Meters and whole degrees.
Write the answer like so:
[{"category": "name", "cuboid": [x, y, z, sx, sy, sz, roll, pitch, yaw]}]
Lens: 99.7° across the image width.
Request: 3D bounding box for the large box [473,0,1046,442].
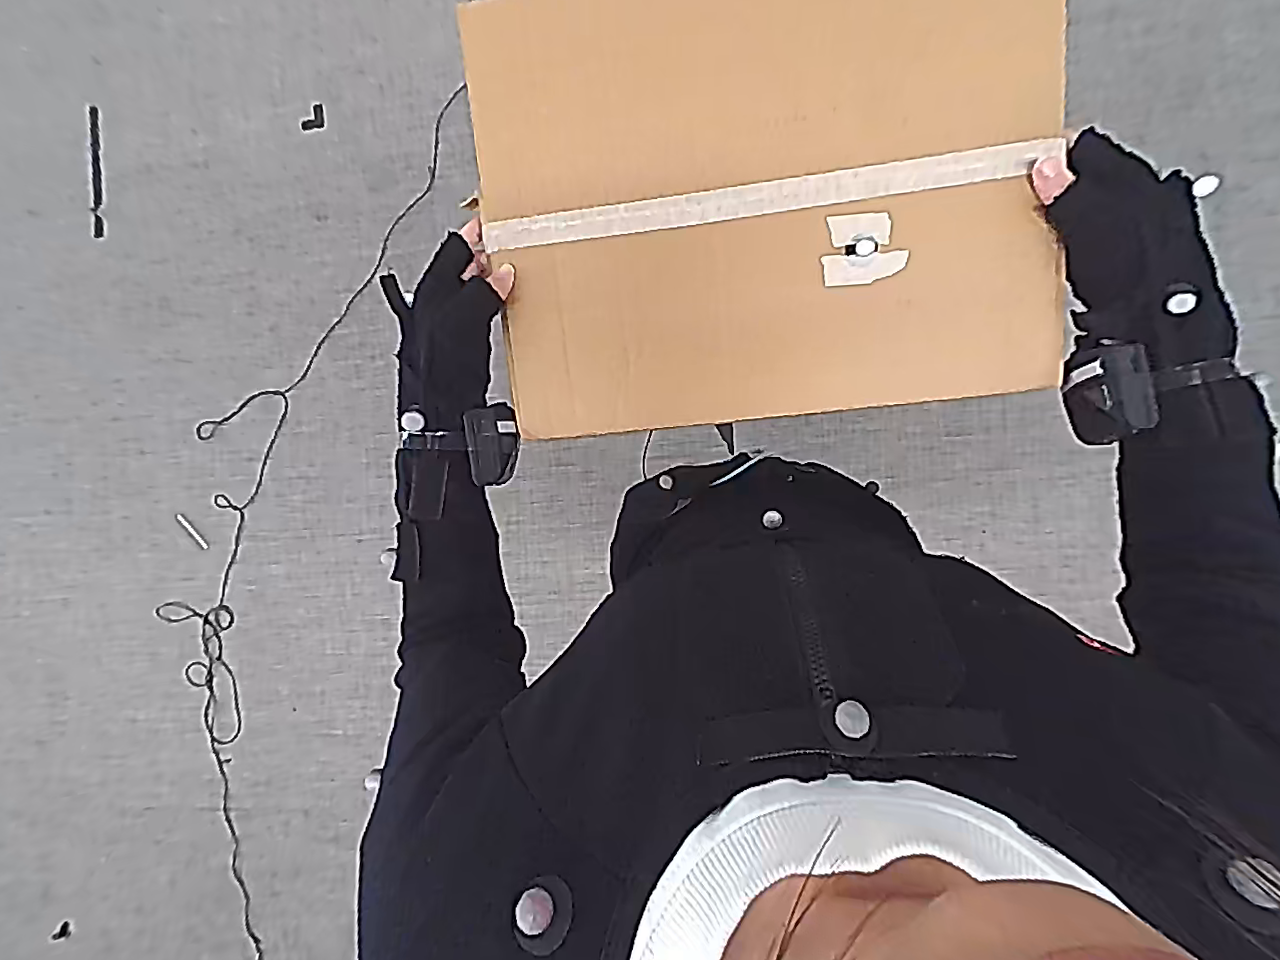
[{"category": "large box", "cuboid": [0.099, -0.226, 0.549, 0.408, 0.320, 0.320, -6, 99, 5]}]
